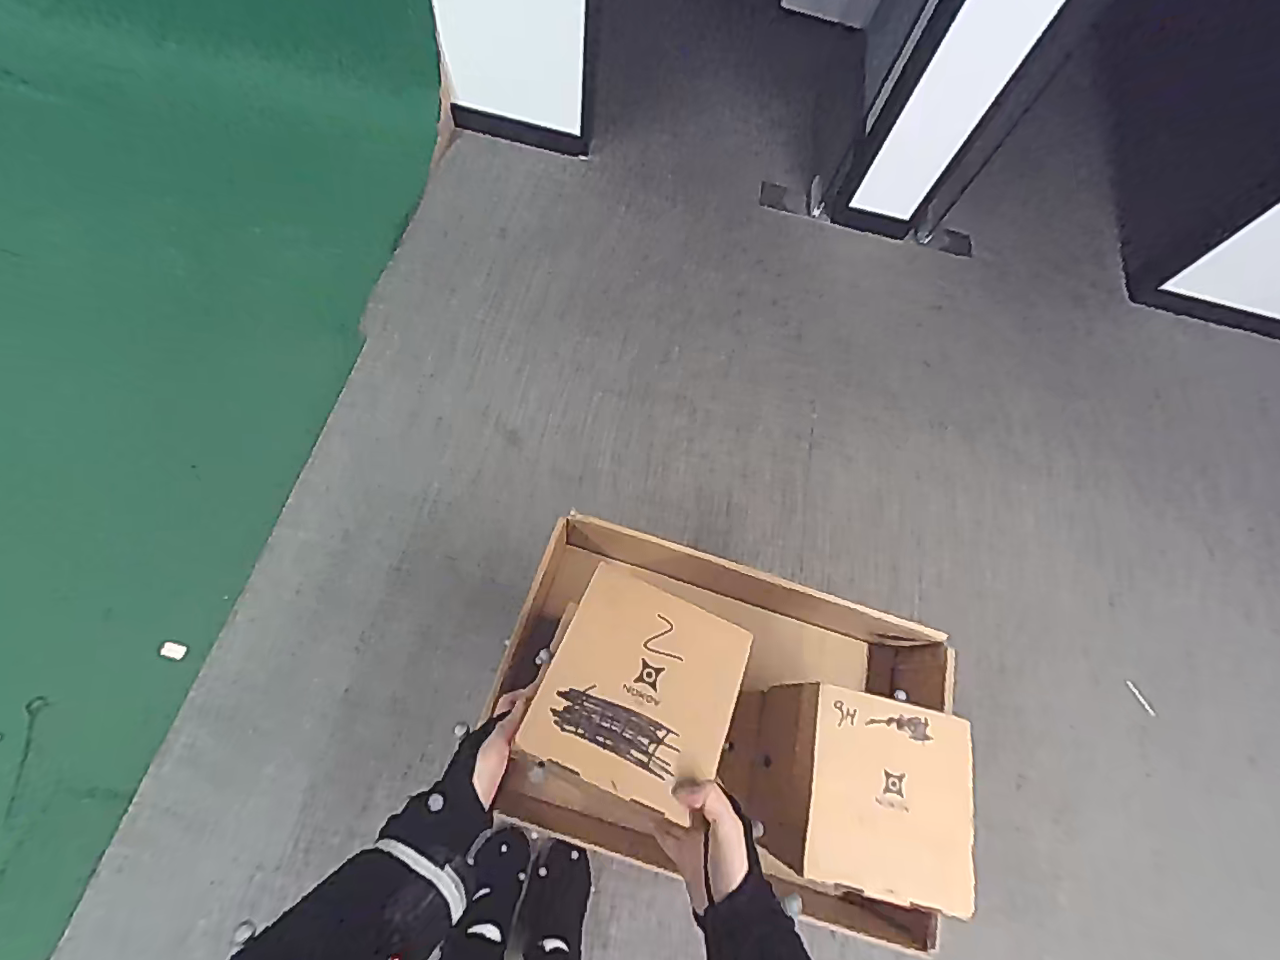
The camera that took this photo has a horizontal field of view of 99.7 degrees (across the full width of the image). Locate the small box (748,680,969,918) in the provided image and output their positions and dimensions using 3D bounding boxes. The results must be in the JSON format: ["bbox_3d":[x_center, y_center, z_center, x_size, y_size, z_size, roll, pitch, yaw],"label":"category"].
[{"bbox_3d":[0.232,0.335,0.605,0.168,0.176,0.179,16,68,-2],"label":"small box"}]
